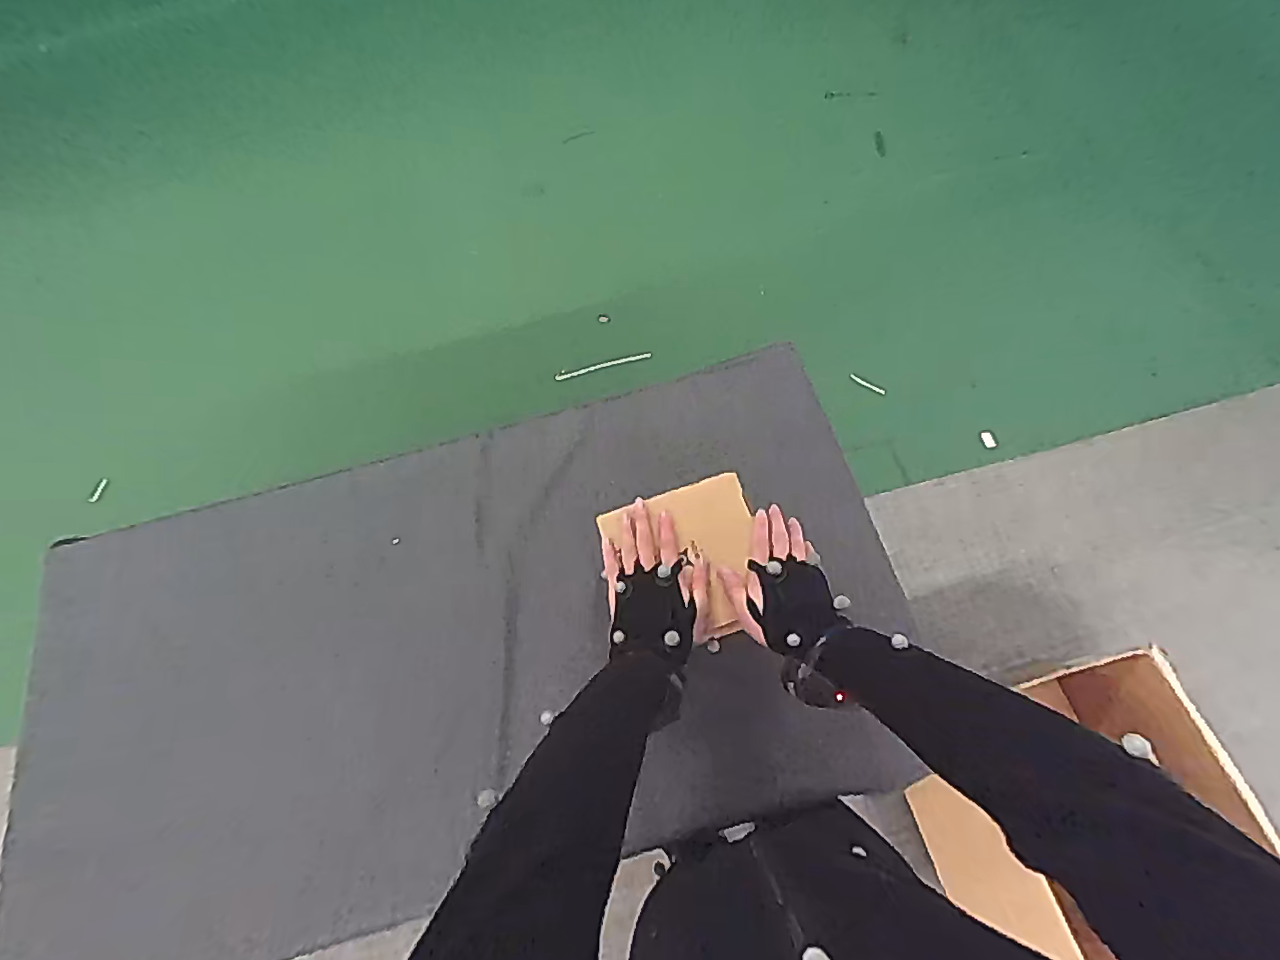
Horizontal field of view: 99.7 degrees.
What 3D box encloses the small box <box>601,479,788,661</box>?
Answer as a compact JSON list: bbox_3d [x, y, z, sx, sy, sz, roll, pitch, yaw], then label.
[{"bbox_3d":[0.063,0.123,0.699,0.179,0.176,0.168,-21,70,-4],"label":"small box"}]
